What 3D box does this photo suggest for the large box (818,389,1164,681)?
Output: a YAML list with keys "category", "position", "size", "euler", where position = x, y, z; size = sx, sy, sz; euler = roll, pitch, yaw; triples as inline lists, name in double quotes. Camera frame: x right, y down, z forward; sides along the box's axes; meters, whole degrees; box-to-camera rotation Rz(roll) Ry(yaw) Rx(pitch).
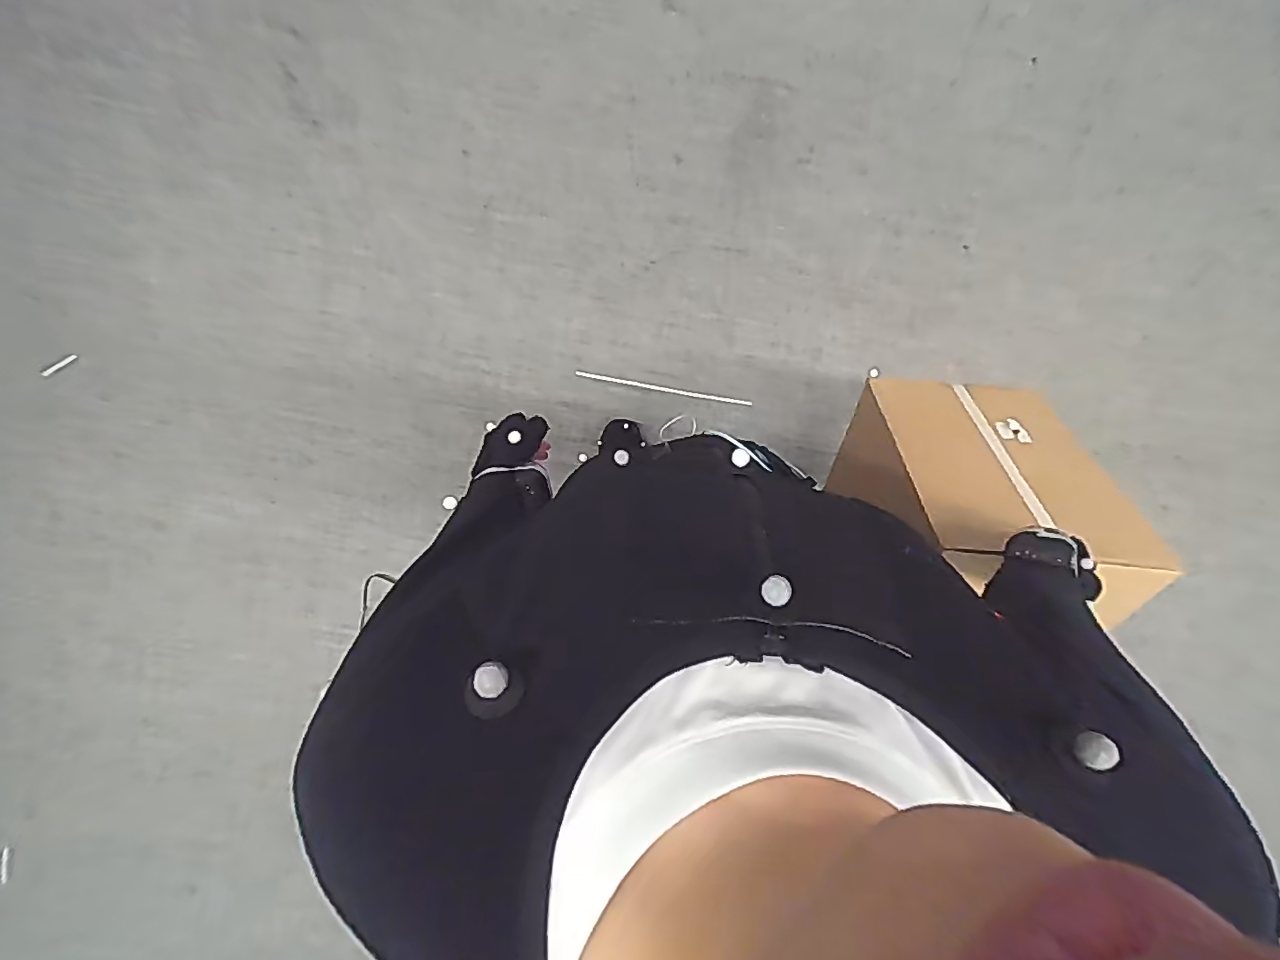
- category: "large box"
  position: [0.538, 0.089, 0.949]
  size: [0.320, 0.408, 0.320]
  euler: [6, 132, 0]
